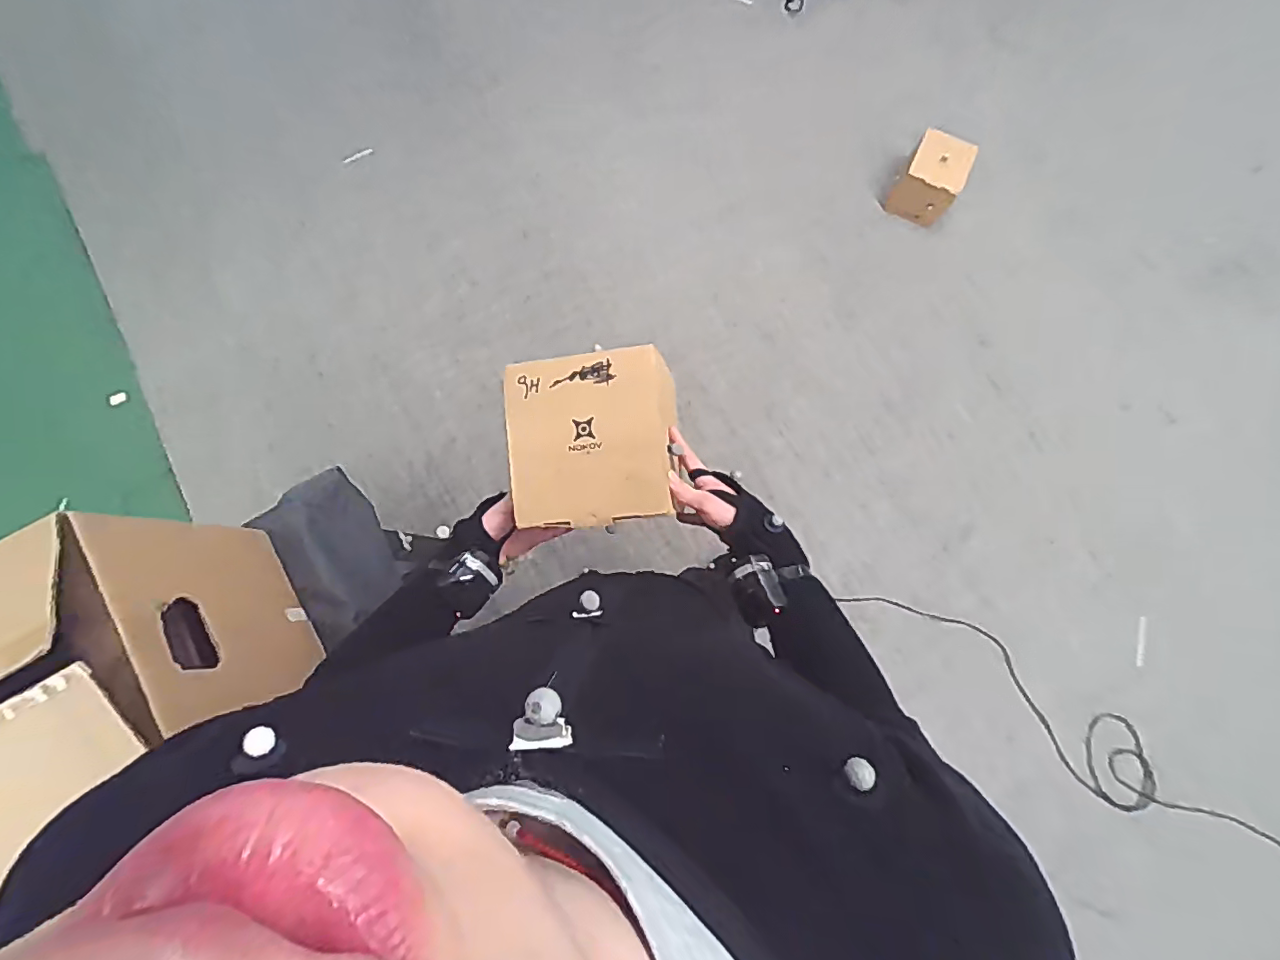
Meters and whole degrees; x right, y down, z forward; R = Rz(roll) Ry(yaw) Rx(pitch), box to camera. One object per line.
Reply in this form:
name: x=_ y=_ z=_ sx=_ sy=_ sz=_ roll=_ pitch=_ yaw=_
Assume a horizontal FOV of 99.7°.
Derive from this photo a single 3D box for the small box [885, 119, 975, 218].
small box: x=0.893 y=-0.961 z=1.685 sx=0.168 sy=0.176 sz=0.179 roll=25 pitch=80 yaw=2
